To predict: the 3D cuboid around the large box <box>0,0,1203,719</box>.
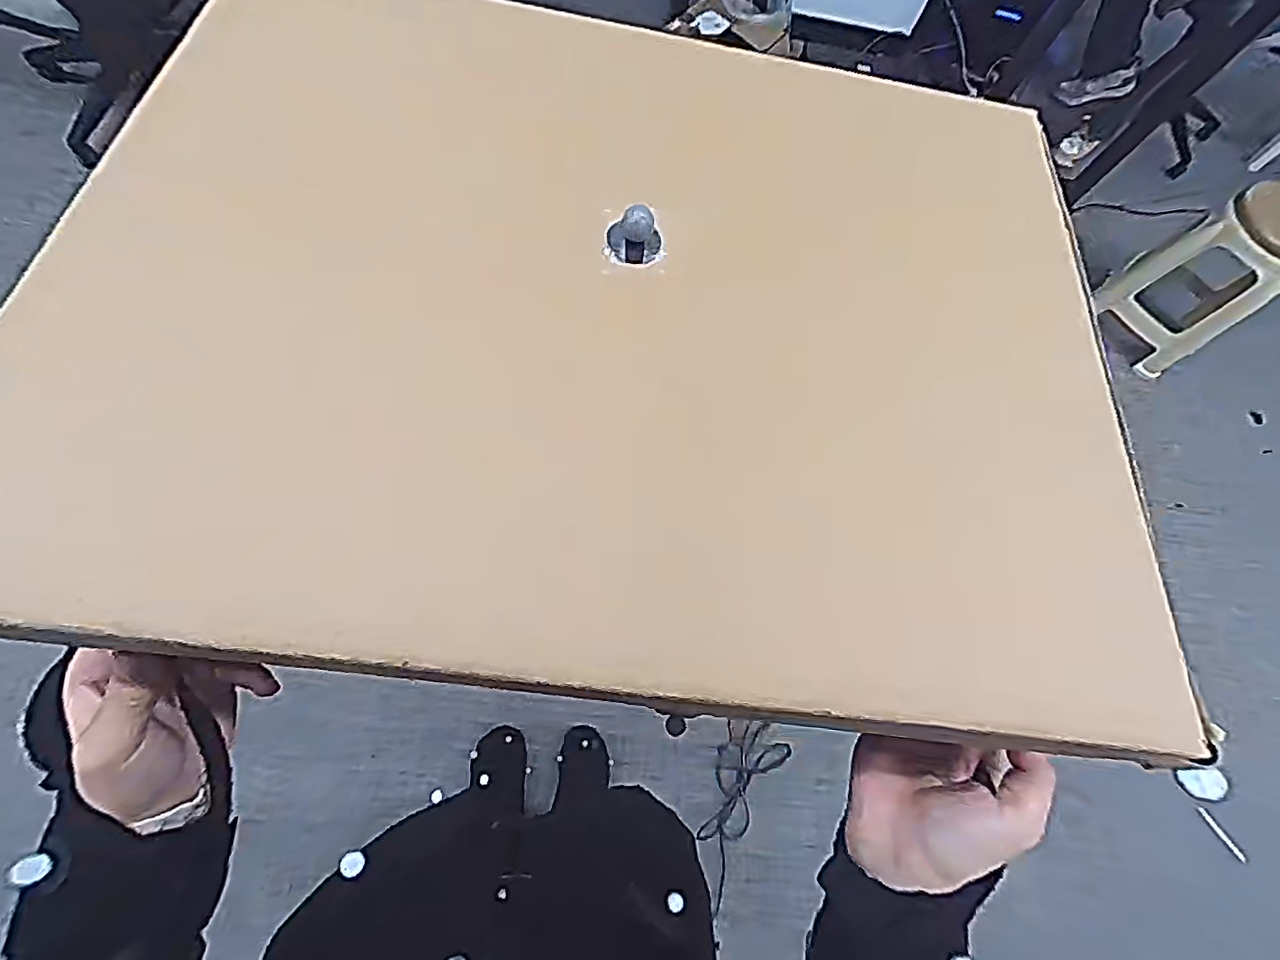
[{"bbox_3d":[-0.022,-0.038,0.351,0.408,0.320,0.320,7,69,-4],"label":"large box"}]
